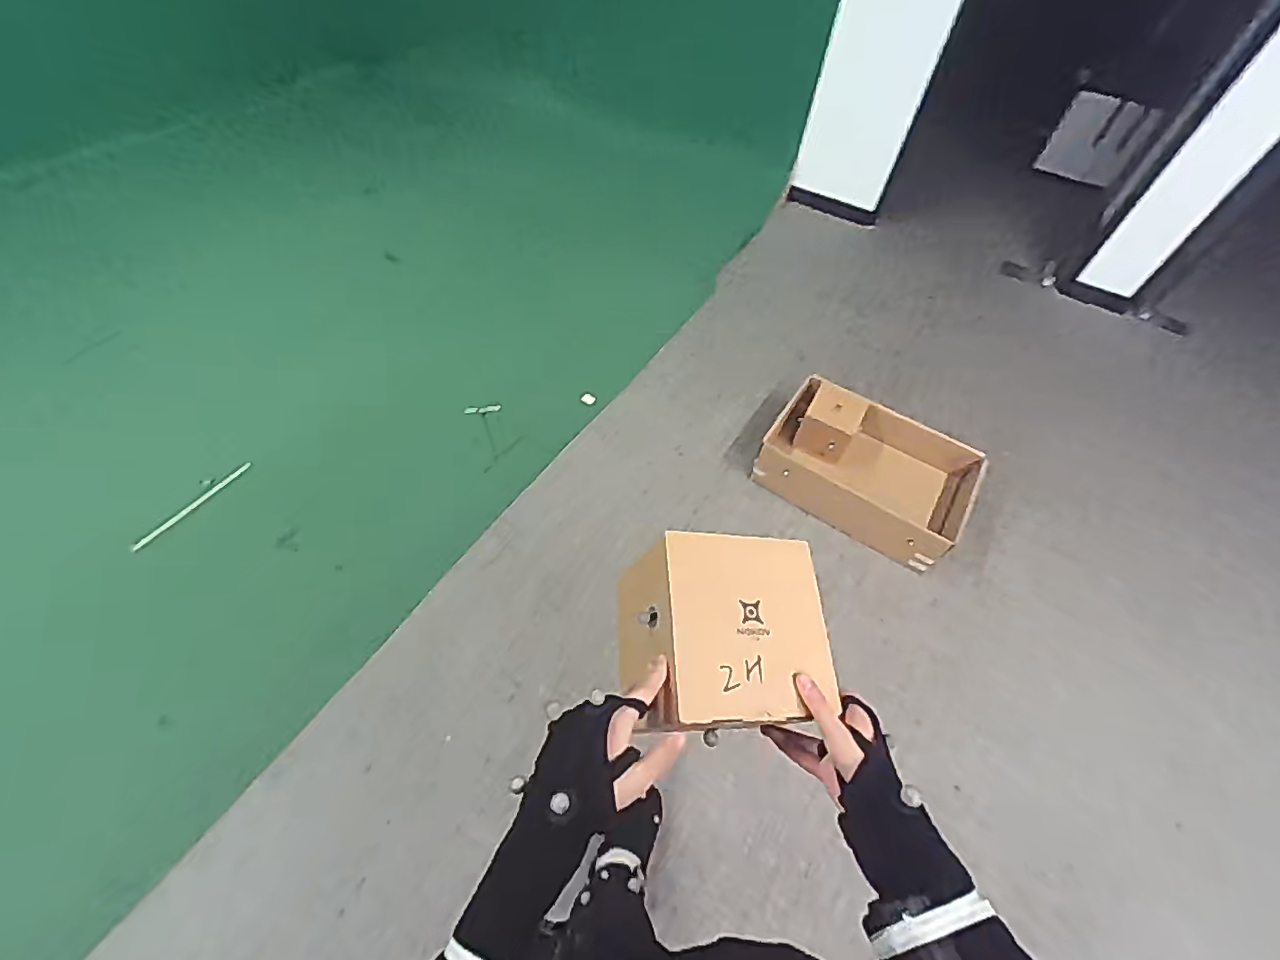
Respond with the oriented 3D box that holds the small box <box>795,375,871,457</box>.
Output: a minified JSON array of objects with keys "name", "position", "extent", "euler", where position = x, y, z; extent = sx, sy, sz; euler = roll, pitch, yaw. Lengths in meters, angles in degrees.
[{"name":"small box","position":[0.633,-0.208,1.795],"extent":[0.168,0.176,0.179],"euler":[27,59,14]}]

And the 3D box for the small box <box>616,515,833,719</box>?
[{"name":"small box","position":[0.074,0.155,0.577],"extent":[0.168,0.176,0.179],"euler":[7,63,-16]}]
